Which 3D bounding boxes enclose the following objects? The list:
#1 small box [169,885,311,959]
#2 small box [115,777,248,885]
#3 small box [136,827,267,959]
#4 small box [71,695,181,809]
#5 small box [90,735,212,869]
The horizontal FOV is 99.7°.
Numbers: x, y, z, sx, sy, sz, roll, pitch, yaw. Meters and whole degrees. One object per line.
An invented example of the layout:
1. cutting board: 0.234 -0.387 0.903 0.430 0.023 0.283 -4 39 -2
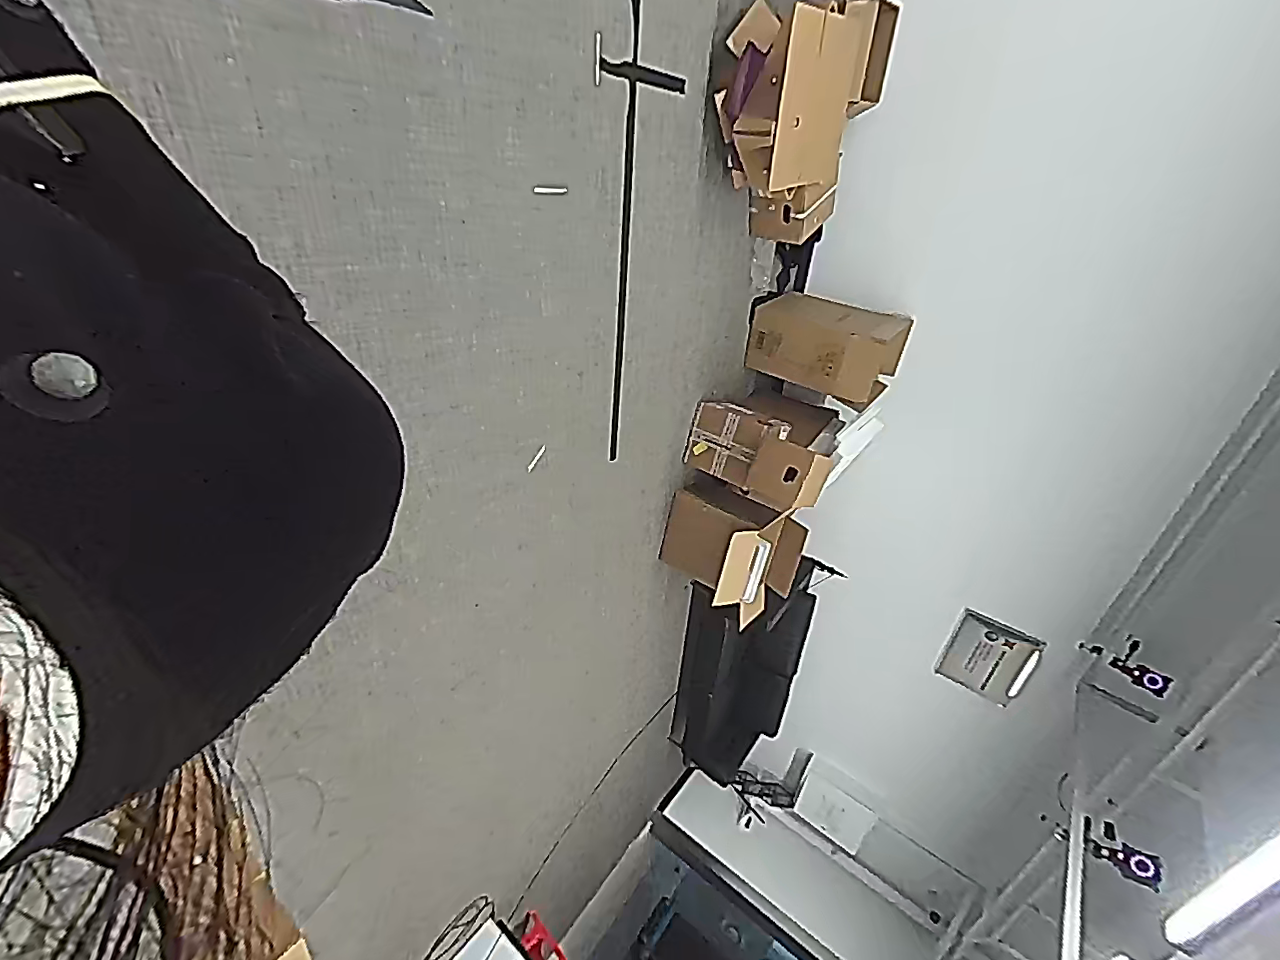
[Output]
1. small box: -0.769 0.943 1.051 0.168 0.176 0.179 -28 132 -49
2. small box: -1.024 0.819 1.216 0.179 0.176 0.168 -24 130 -50
3. small box: -0.900 0.878 1.126 0.168 0.176 0.179 -26 131 -51
4. small box: -1.285 0.689 1.364 0.179 0.176 0.168 -25 131 -50
5. small box: -1.154 0.754 1.289 0.179 0.176 0.168 -21 128 -52
